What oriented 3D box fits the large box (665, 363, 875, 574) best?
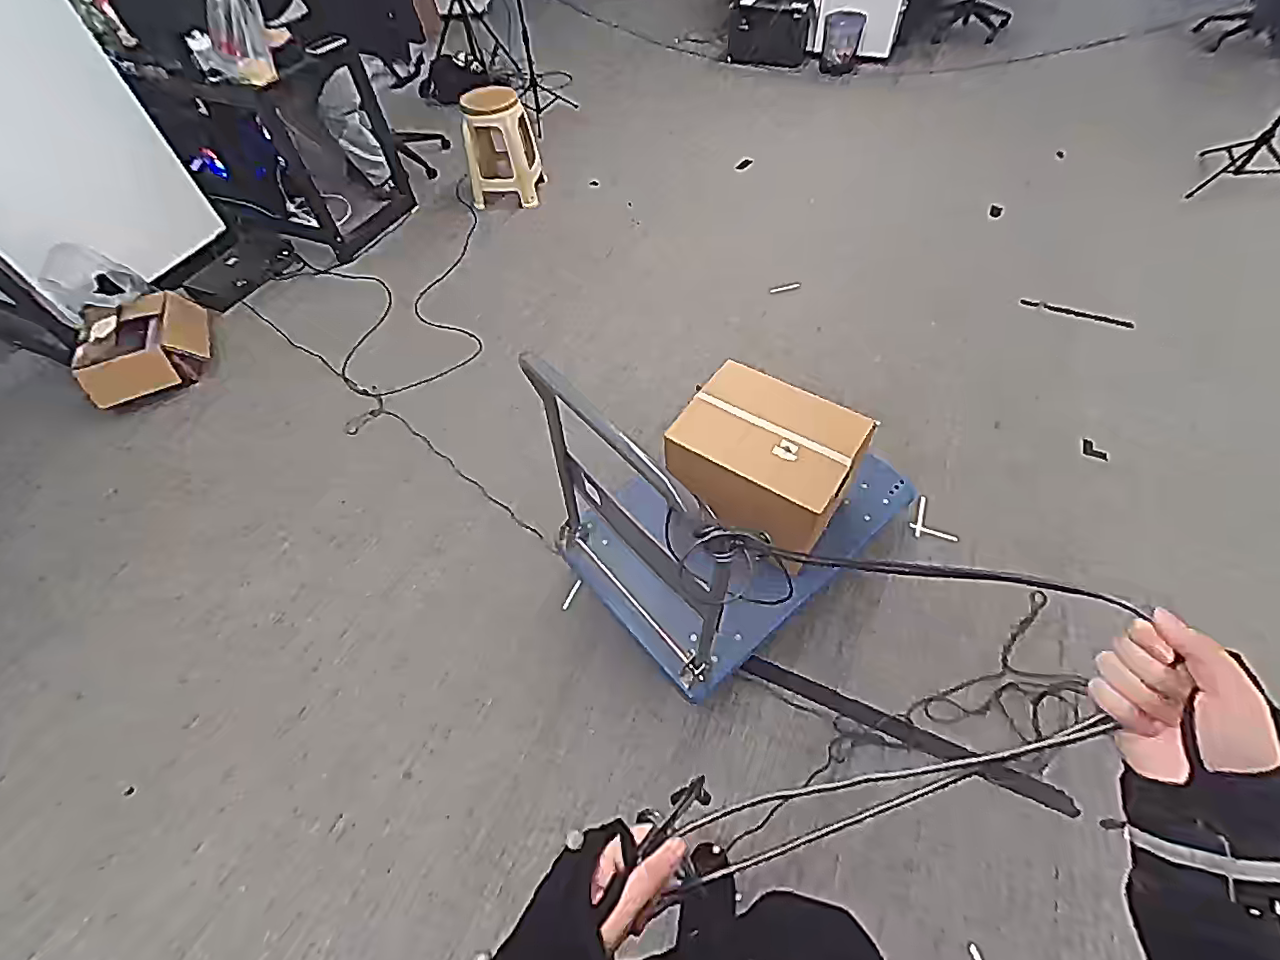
[{"bbox_3d":[0.310,-0.031,1.390,0.408,0.320,0.320,29,63,21],"label":"large box"}]
